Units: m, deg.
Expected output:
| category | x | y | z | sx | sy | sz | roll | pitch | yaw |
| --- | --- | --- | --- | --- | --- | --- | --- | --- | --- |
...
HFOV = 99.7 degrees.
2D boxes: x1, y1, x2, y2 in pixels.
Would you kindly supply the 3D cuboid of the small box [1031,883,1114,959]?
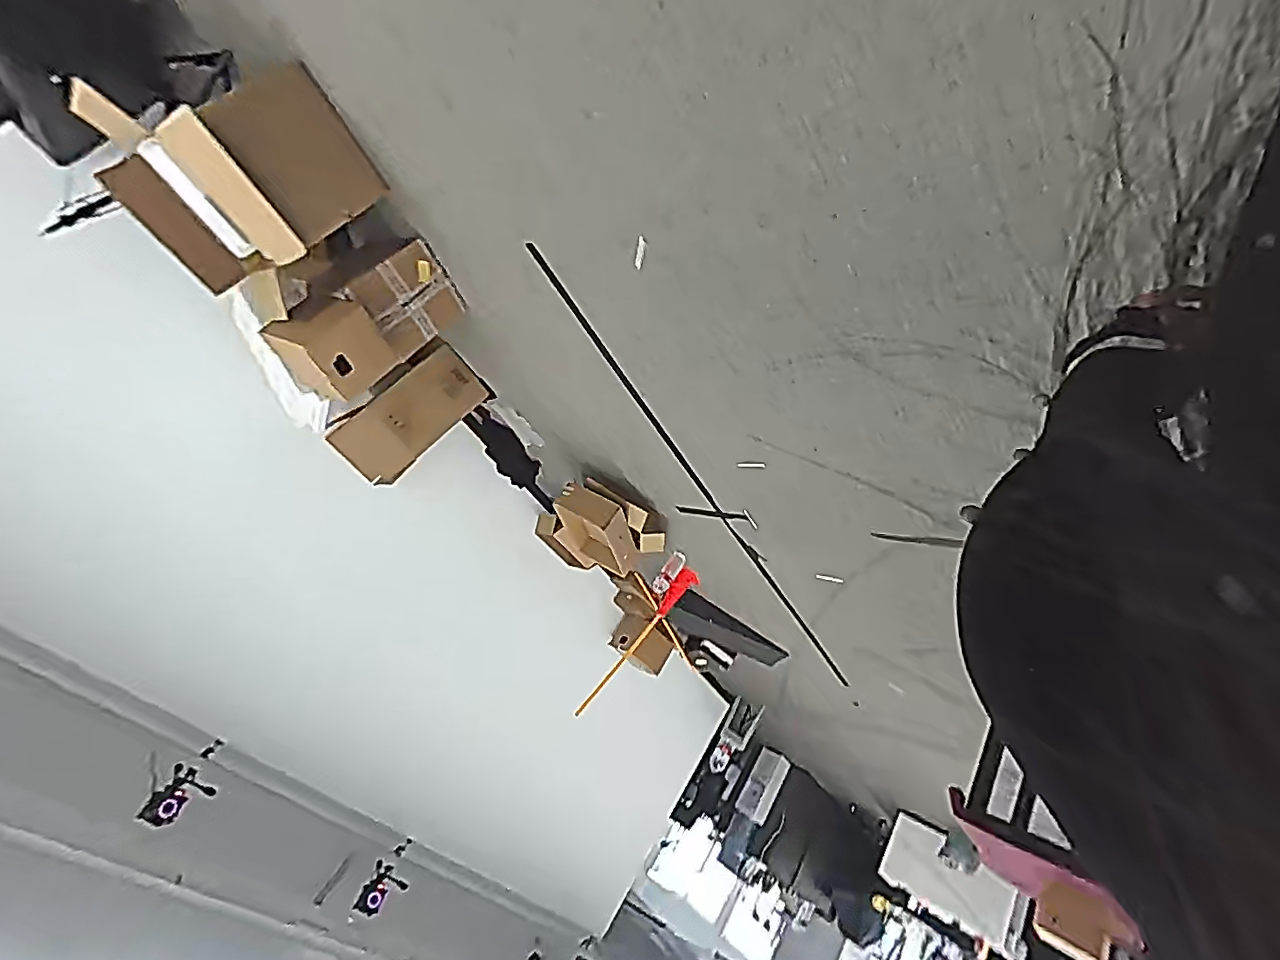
| category | x | y | z | sx | sy | sz | roll | pitch | yaw |
| --- | --- | --- | --- | --- | --- | --- | --- | --- | --- |
| small box | 1.415 | 1.459 | 1.765 | 0.179 | 0.176 | 0.168 | 5 | 140 | 50 |
